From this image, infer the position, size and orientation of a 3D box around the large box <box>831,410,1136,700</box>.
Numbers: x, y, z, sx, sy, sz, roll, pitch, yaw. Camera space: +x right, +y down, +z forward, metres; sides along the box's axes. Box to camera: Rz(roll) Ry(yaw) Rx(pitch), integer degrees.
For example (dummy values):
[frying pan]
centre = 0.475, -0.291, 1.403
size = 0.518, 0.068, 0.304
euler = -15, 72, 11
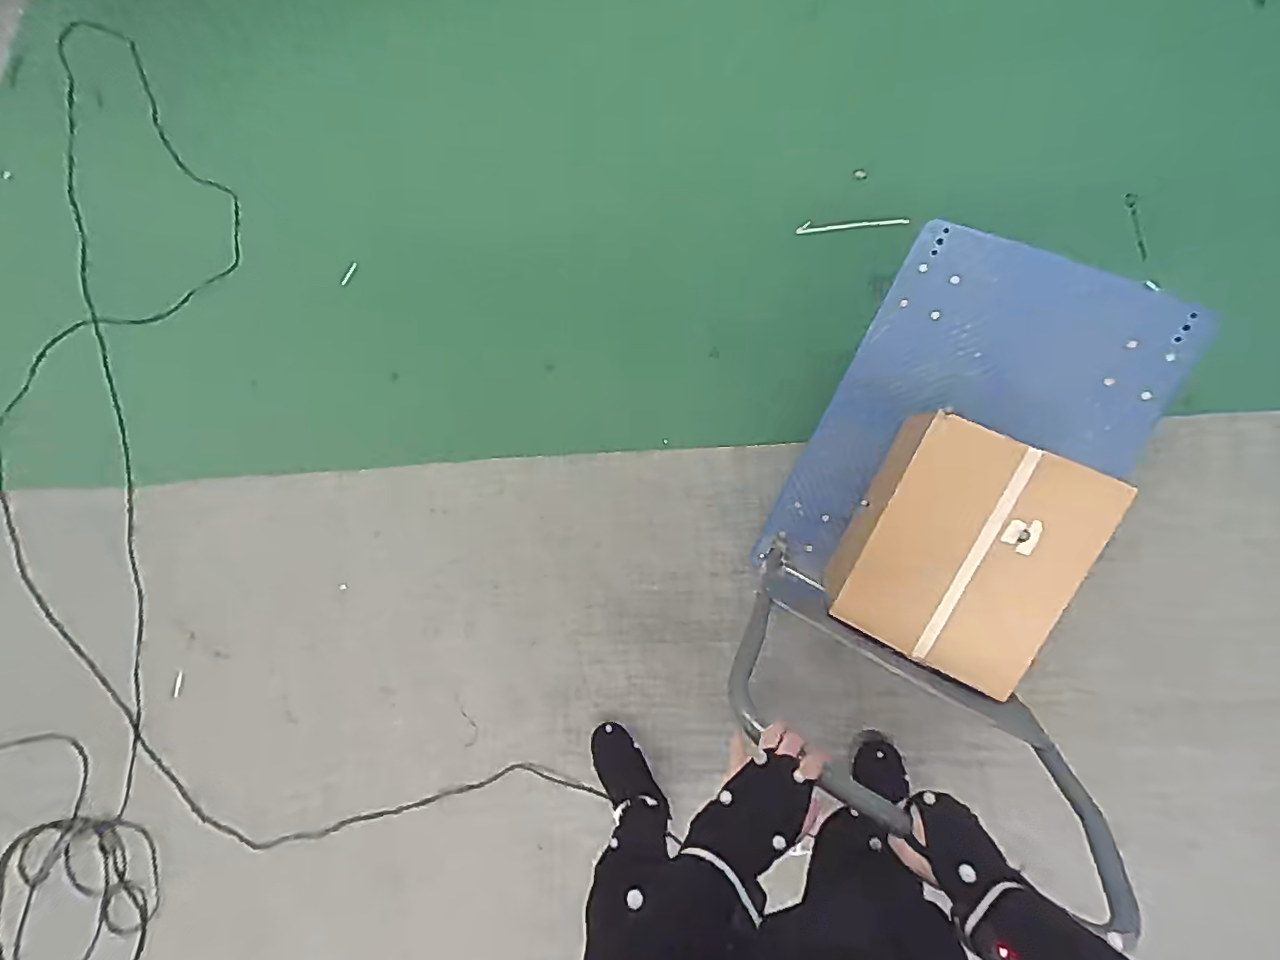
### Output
[large box]
centre = 0.603, 0.121, 1.045
size = 0.320, 0.320, 0.408
euler = 27, 99, 13
